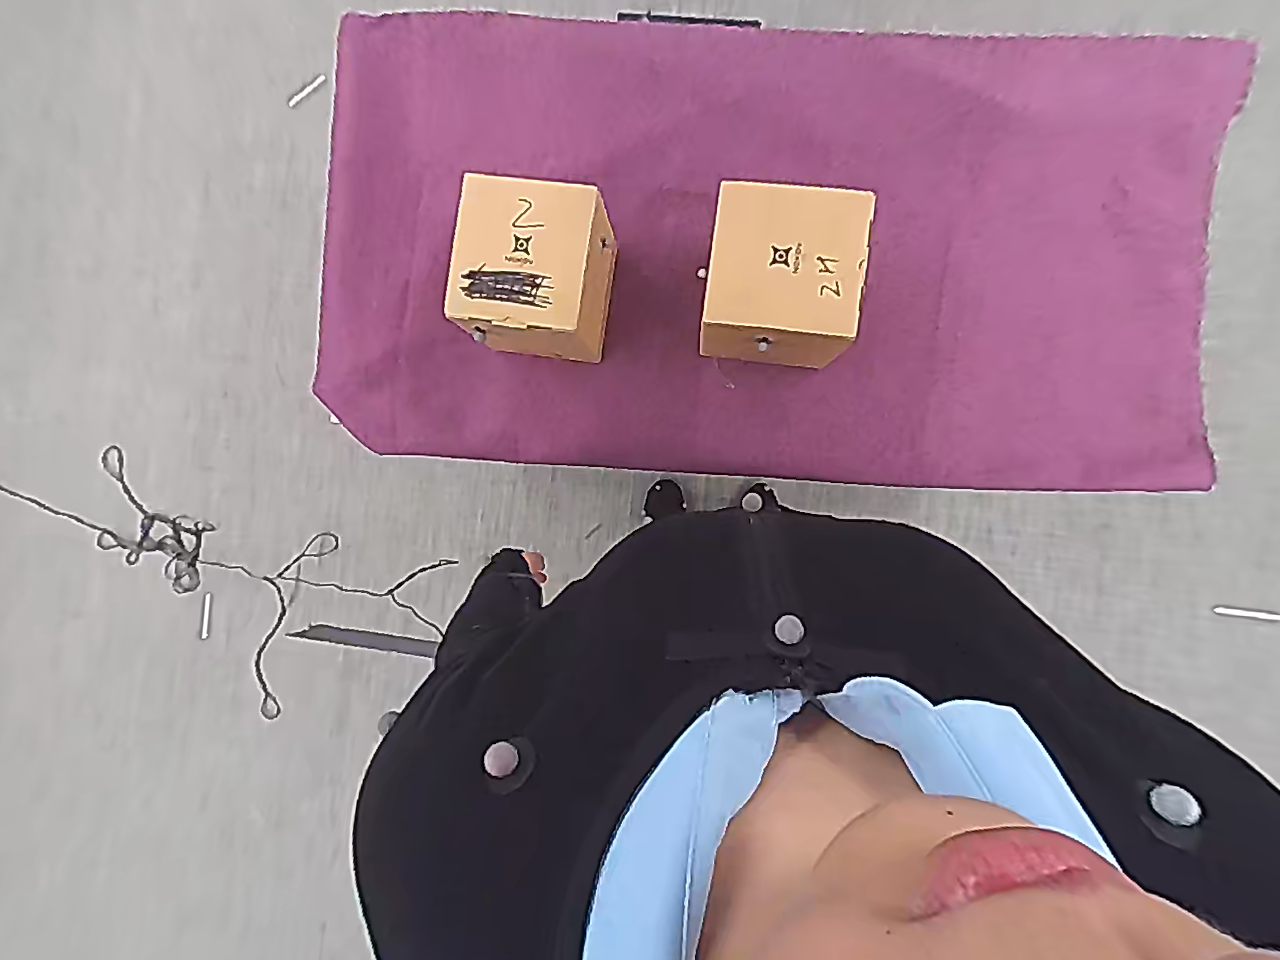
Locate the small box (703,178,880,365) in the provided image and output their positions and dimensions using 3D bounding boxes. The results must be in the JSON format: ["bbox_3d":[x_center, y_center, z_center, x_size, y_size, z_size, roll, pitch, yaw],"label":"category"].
[{"bbox_3d":[0.177,-0.251,0.686,0.179,0.176,0.168,8,91,5],"label":"small box"}]
